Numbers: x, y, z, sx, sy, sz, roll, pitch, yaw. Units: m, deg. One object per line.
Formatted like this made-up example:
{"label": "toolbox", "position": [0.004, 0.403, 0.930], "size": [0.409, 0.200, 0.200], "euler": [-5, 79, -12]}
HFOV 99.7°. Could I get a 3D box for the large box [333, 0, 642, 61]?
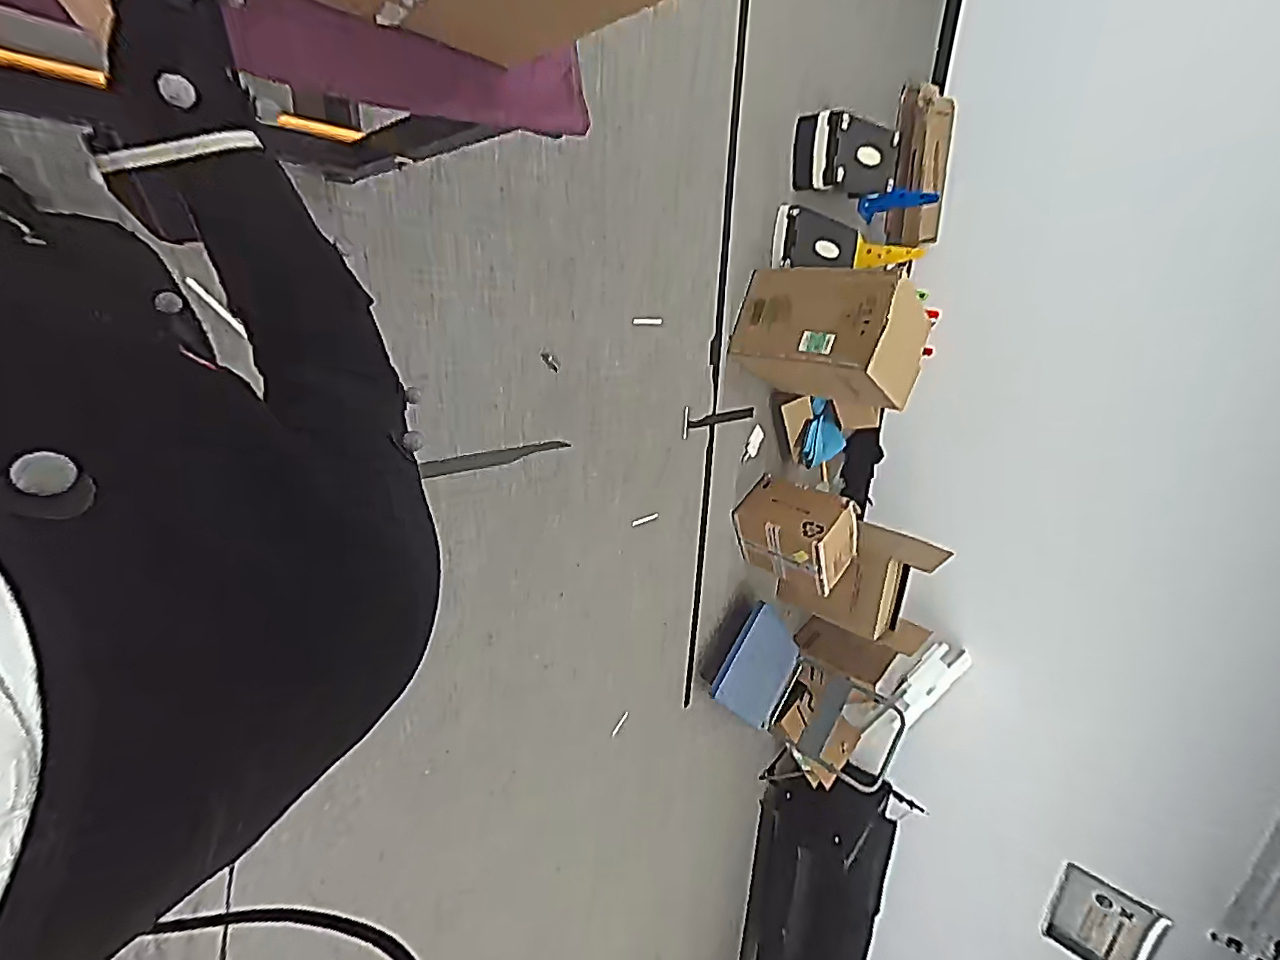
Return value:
{"label": "large box", "position": [-0.148, -0.623, 0.396], "size": [0.320, 0.320, 0.408], "euler": [-18, 116, -45]}
